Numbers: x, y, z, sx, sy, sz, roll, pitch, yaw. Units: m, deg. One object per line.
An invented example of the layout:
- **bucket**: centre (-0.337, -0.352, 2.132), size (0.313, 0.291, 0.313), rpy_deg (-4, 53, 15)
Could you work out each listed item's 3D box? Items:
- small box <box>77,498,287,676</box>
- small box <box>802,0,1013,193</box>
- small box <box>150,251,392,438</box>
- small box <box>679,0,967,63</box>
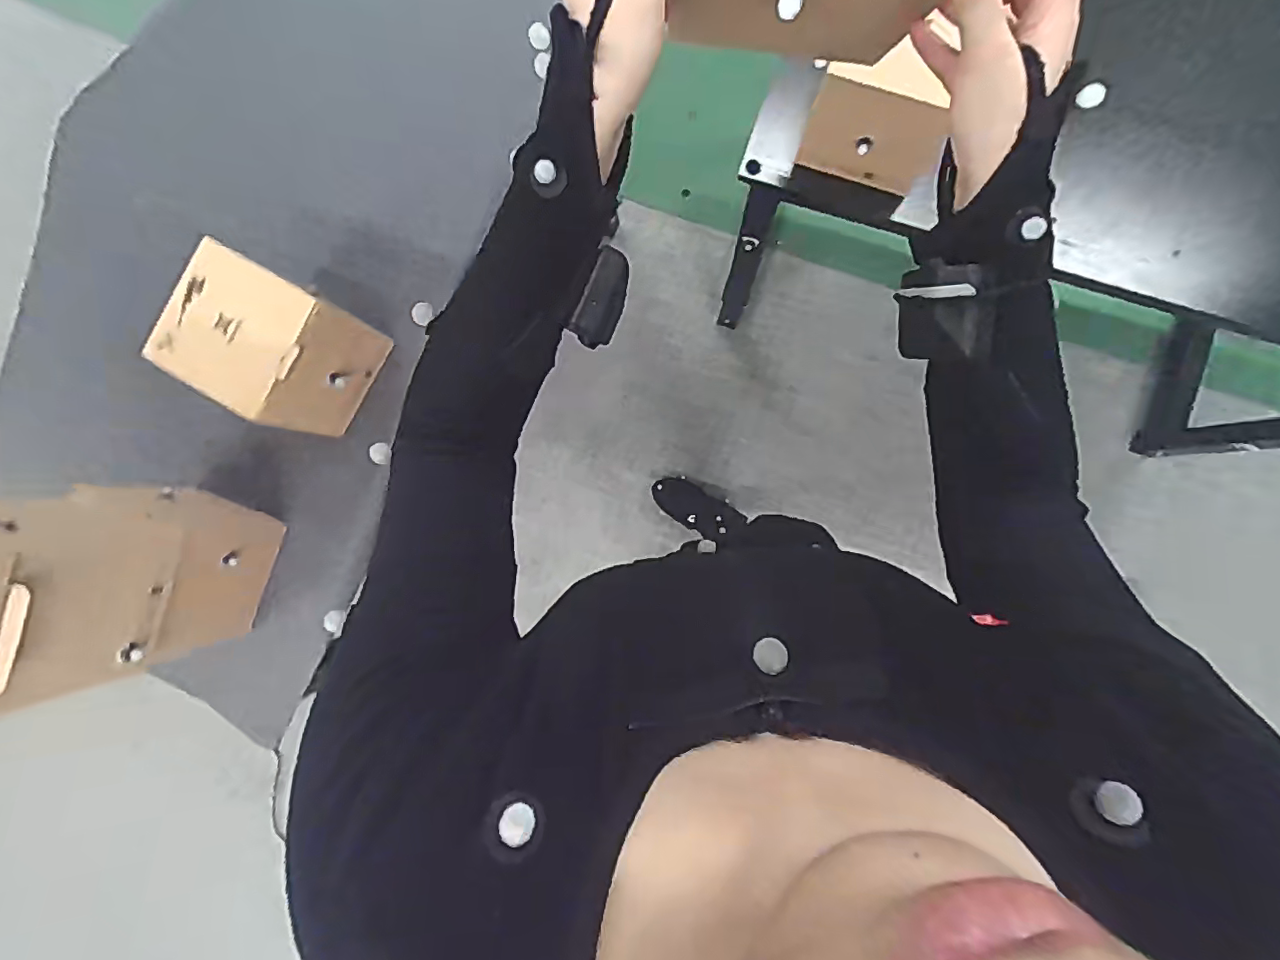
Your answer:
- **small box**: centre (-0.627, 0.131, 0.736), size (0.168, 0.176, 0.179), rpy_deg (19, 91, 7)
- **small box**: centre (0.317, -0.498, 0.673), size (0.168, 0.176, 0.179), rpy_deg (19, 90, 4)
- **small box**: centre (-0.478, -0.167, 0.730), size (0.179, 0.176, 0.168), rpy_deg (29, 92, 5)
- **small box**: centre (0.121, -0.389, 0.338), size (0.179, 0.176, 0.168), rpy_deg (8, 113, 2)
